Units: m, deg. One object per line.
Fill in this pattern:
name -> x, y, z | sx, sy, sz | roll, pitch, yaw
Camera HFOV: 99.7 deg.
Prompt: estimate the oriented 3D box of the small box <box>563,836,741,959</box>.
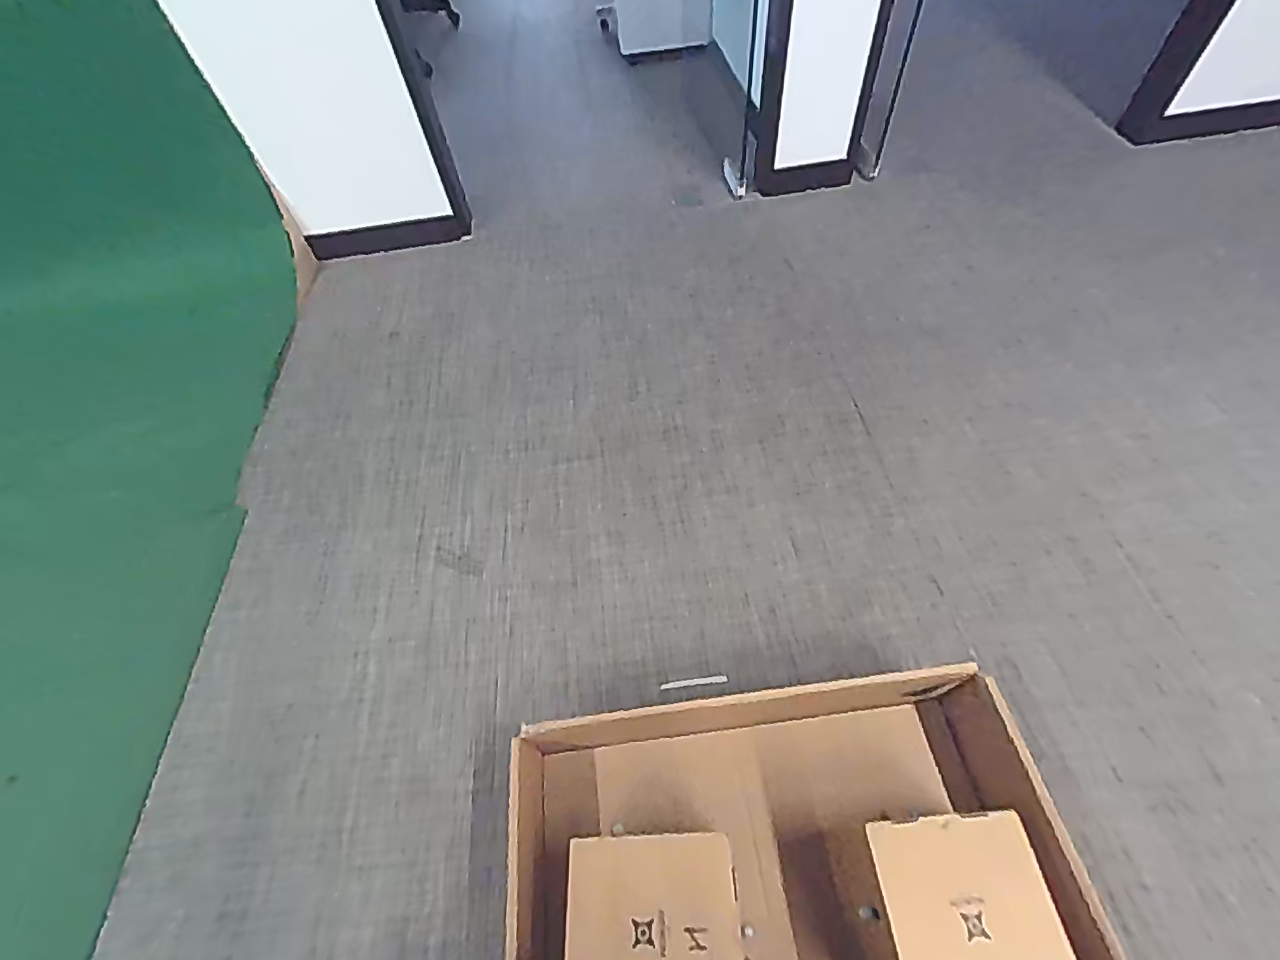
small box -> 0.020, 0.499, 0.594 | 0.179, 0.176, 0.168 | -5, 51, 5
